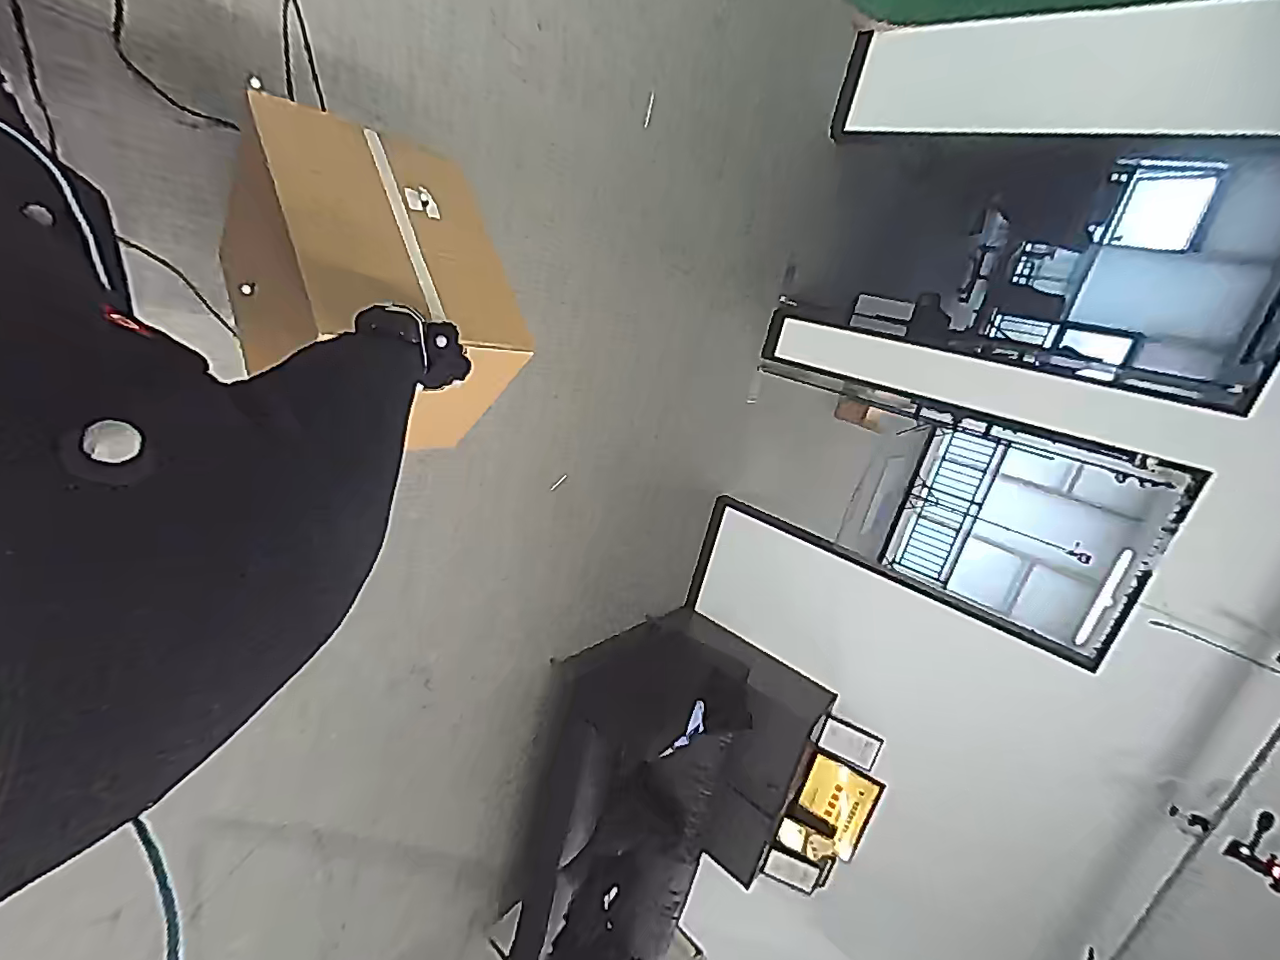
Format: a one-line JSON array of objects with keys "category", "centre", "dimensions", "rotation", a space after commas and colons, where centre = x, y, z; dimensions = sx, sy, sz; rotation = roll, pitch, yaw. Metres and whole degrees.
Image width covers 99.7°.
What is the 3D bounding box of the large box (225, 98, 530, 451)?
[{"category": "large box", "centre": [-0.448, -0.301, 0.900], "dimensions": [0.320, 0.408, 0.320], "rotation": [-8, 158, -47]}]
